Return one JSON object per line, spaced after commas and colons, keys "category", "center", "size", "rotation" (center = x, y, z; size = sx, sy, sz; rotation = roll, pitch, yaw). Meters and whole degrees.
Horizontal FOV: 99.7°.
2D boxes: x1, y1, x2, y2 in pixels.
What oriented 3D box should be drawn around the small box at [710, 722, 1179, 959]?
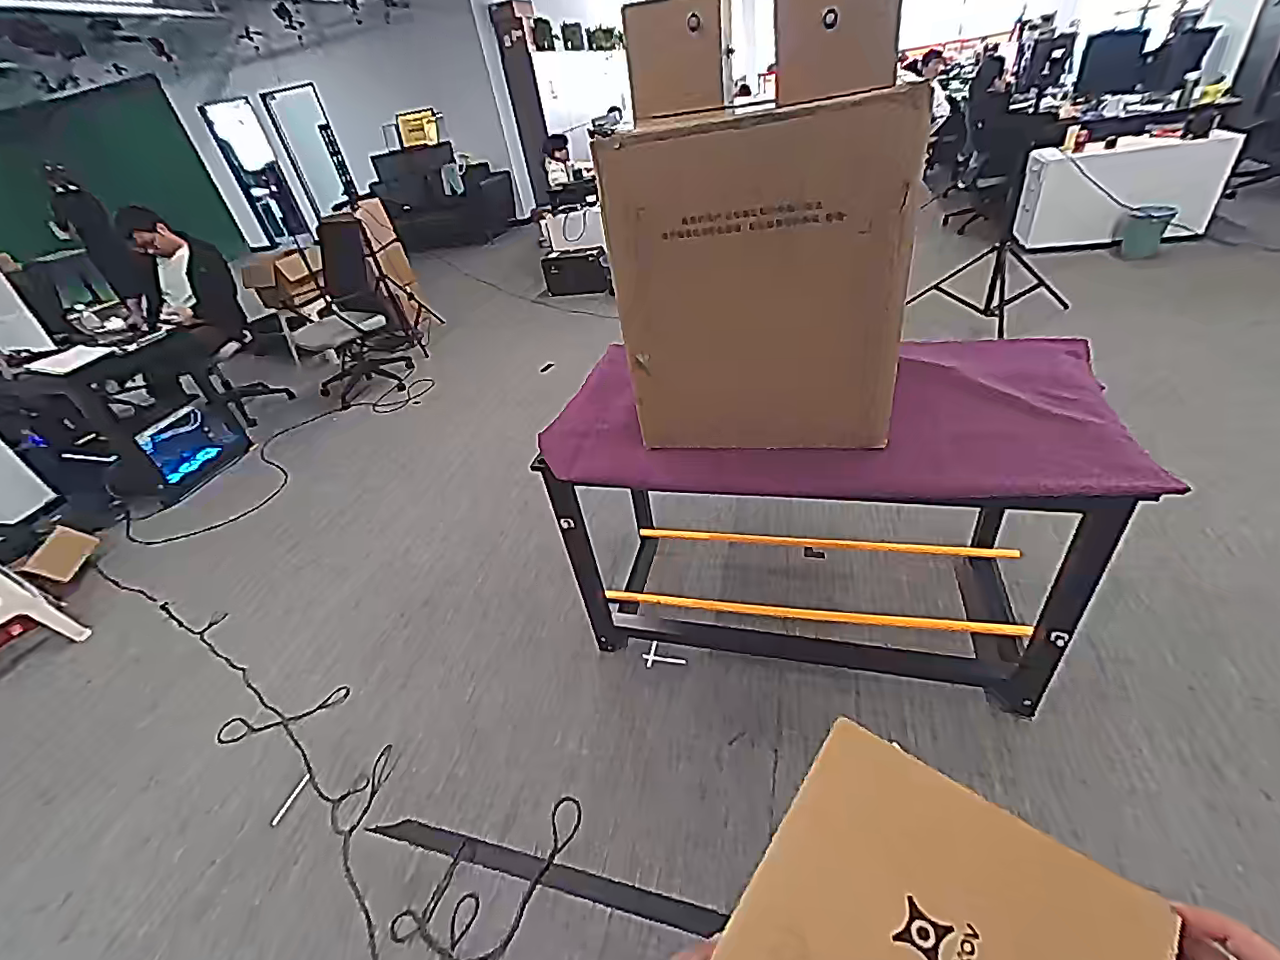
{"category": "small box", "center": [0.166, 0.295, 0.329], "size": [0.179, 0.176, 0.168], "rotation": [23, 54, 35]}
